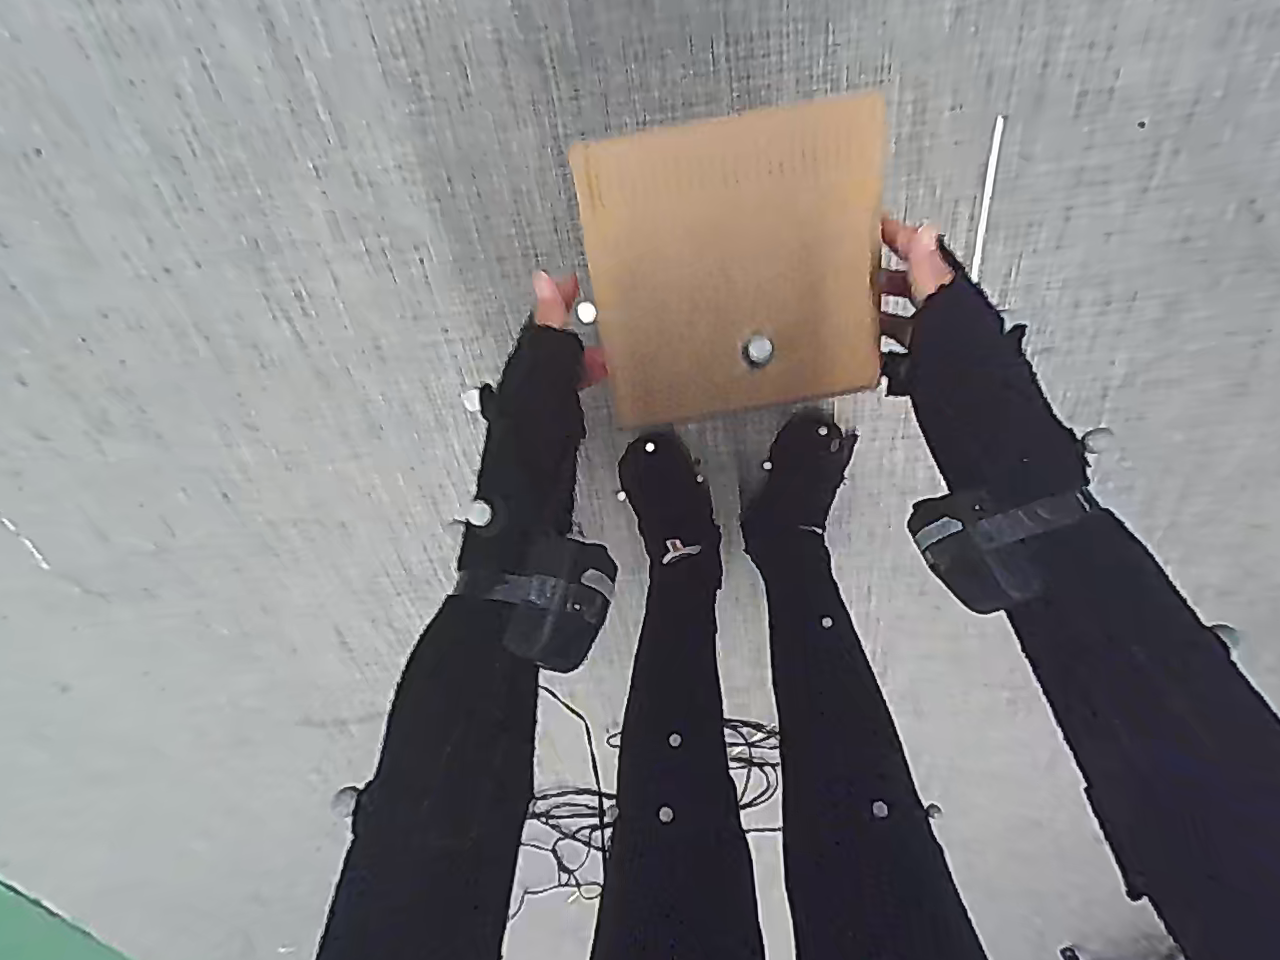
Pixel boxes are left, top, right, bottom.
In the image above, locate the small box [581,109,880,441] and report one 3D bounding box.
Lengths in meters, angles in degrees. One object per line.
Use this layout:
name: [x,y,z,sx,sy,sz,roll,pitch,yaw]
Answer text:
small box: [0.055,-0.145,0.397,0.179,0.168,0.176,-11,114,1]
